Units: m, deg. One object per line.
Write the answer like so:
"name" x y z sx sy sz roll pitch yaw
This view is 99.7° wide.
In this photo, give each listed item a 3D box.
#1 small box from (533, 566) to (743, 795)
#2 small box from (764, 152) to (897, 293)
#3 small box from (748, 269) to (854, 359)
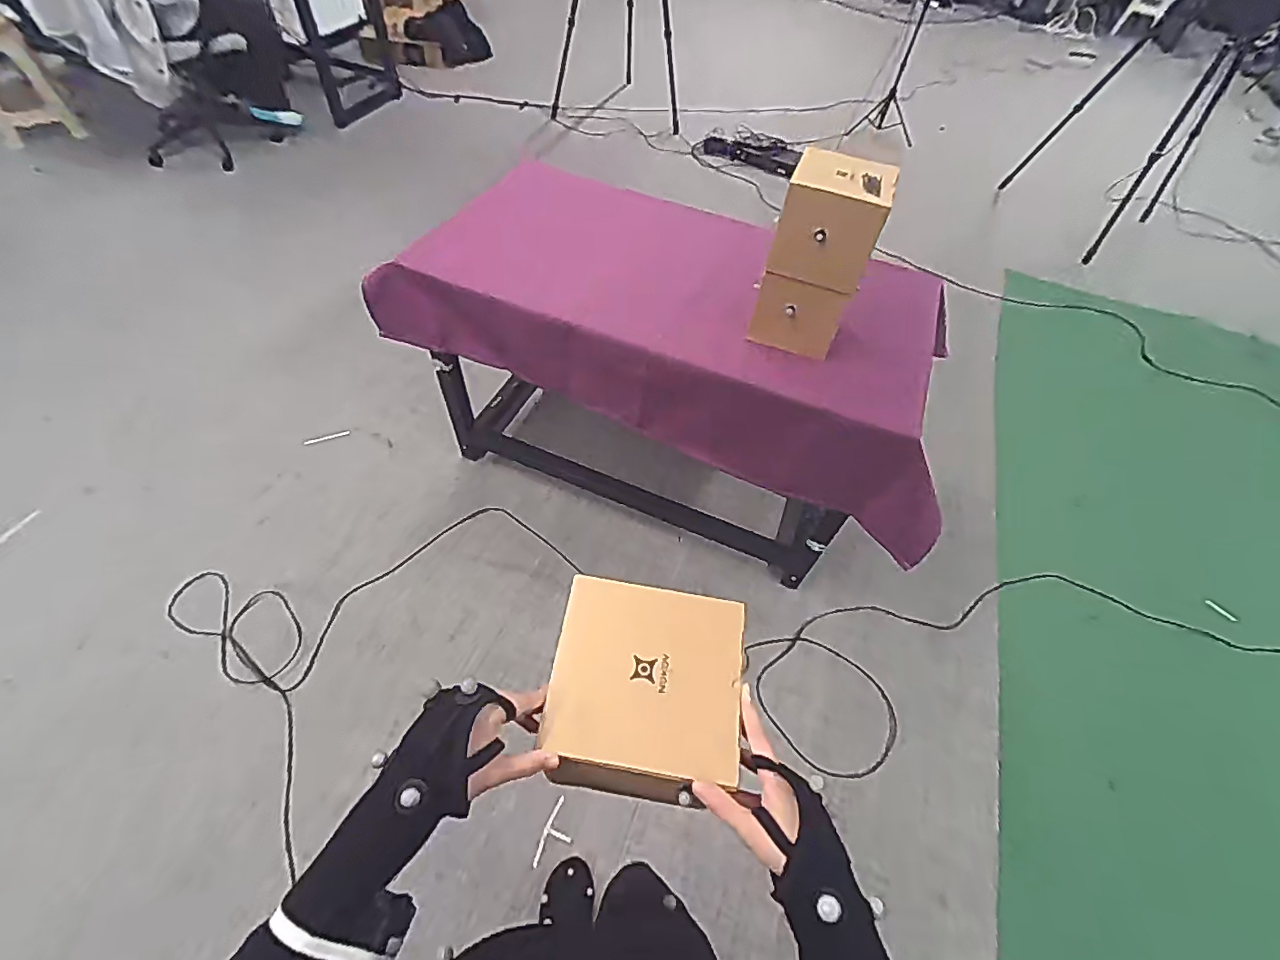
"small box" -0.001 0.213 0.562 0.179 0.176 0.168 10 52 0
"small box" 0.354 -0.479 1.018 0.179 0.176 0.168 19 53 10
"small box" 0.344 -0.383 1.151 0.179 0.176 0.168 18 54 9
